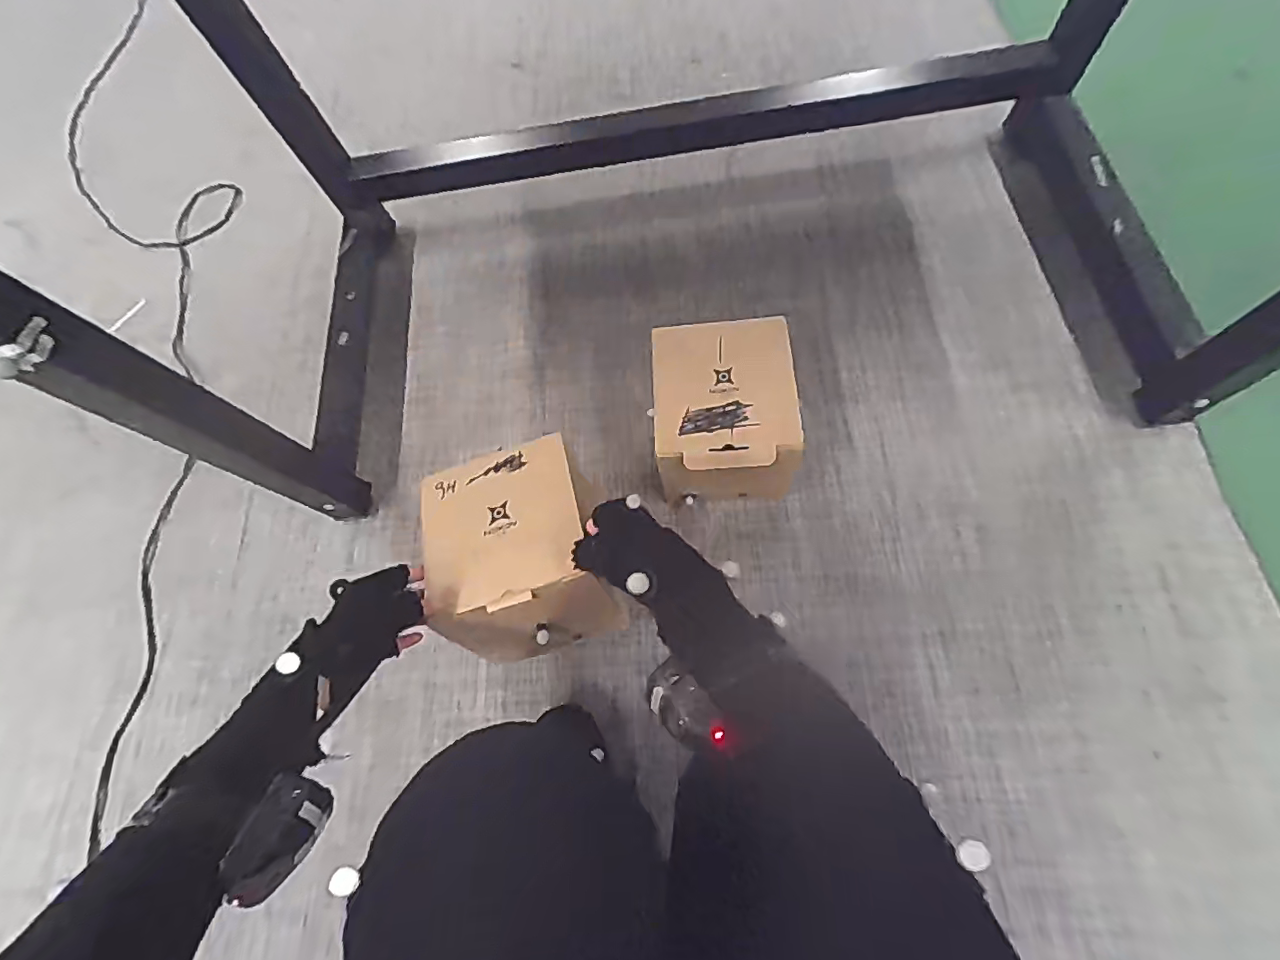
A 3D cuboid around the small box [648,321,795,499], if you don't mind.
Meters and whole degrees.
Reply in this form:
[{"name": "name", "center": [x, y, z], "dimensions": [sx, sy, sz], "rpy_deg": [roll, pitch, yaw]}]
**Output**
[{"name": "small box", "center": [0.101, -0.079, 0.706], "dimensions": [0.168, 0.176, 0.179], "rpy_deg": [-4, 68, 6]}]
